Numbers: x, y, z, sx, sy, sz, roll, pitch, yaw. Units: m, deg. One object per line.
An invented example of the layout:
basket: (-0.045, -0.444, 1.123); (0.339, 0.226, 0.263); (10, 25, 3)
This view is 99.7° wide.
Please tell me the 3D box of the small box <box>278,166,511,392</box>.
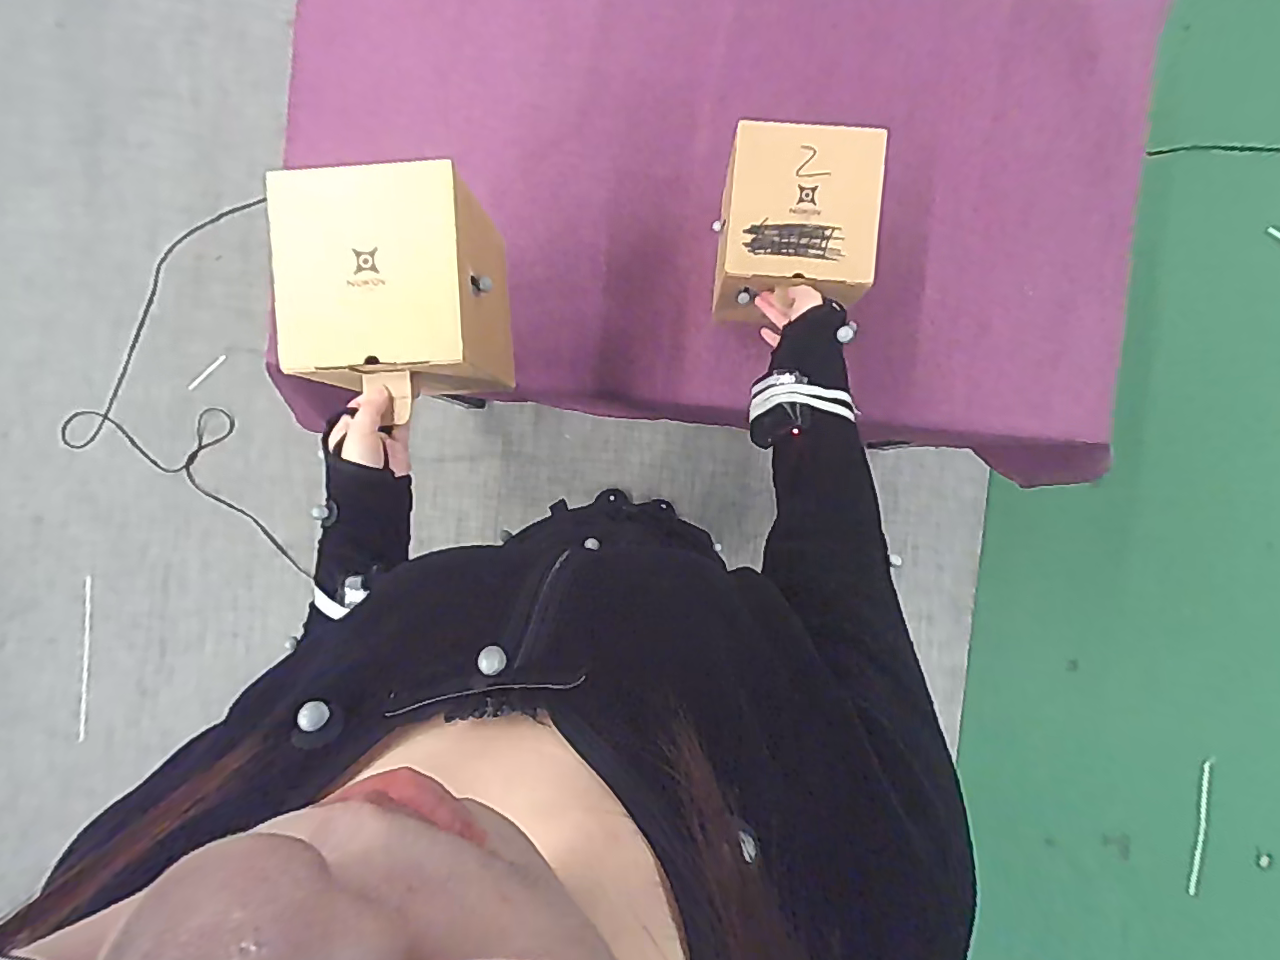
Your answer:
small box: (-0.238, -0.193, 0.565); (0.168, 0.176, 0.179); (-3, 92, 2)
